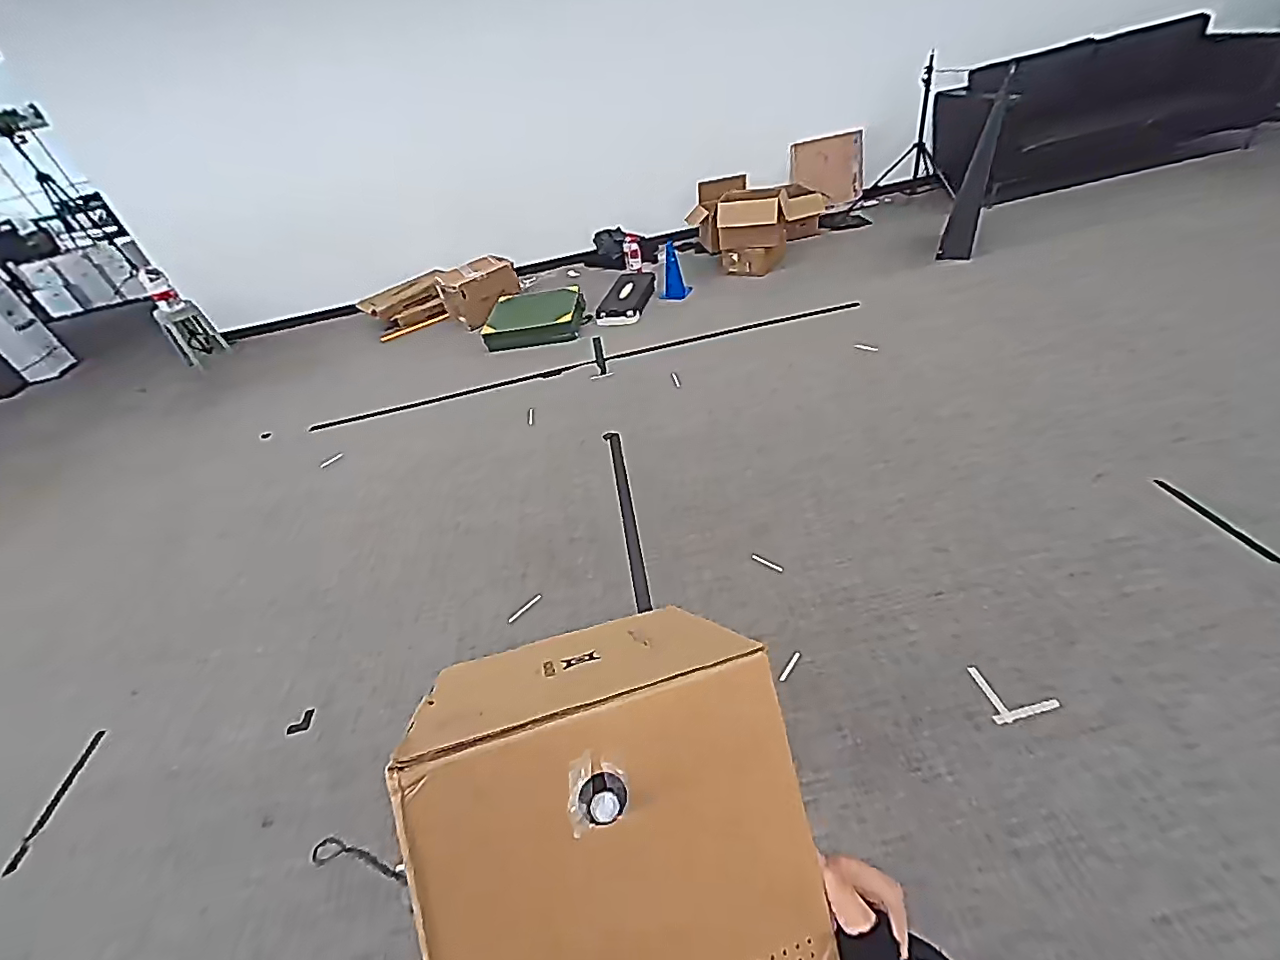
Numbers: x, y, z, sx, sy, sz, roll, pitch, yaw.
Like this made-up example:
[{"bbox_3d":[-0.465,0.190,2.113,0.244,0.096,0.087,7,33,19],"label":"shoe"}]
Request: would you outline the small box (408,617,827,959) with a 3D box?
[{"bbox_3d":[-0.018,0.197,0.328,0.179,0.176,0.168,-12,-4,-13],"label":"small box"}]
